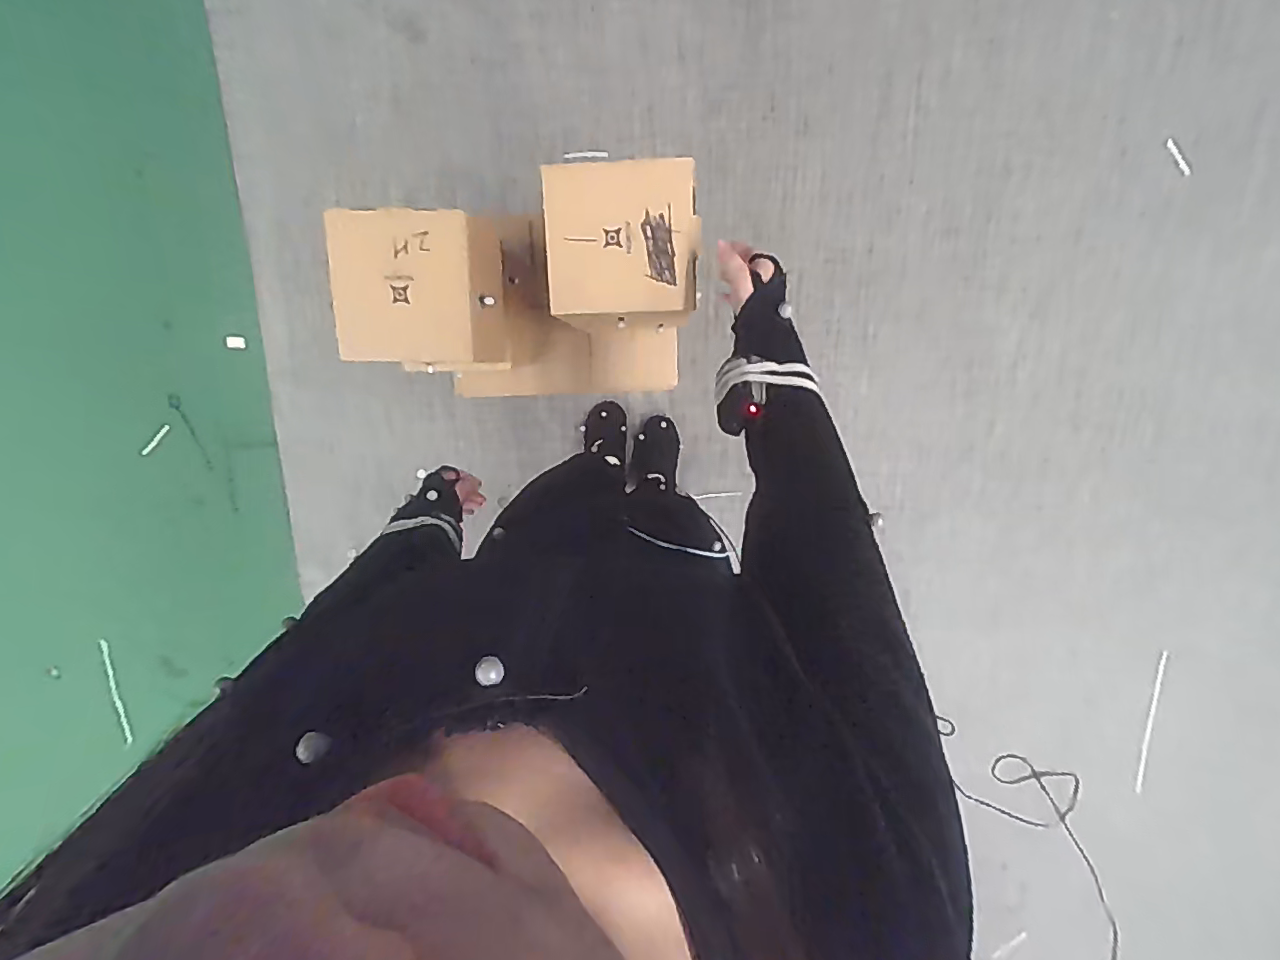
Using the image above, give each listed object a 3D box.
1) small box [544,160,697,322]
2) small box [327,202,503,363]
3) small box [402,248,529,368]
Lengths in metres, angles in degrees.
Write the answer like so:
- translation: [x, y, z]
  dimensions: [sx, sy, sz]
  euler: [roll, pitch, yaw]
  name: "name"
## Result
- translation: [-0.020, -0.297, 0.702]
  dimensions: [0.179, 0.176, 0.168]
  euler: [1, 103, 3]
  name: "small box"
- translation: [-0.282, -0.251, 0.718]
  dimensions: [0.168, 0.176, 0.179]
  euler: [2, 104, -2]
  name: "small box"
- translation: [-0.279, -0.277, 0.880]
  dimensions: [0.168, 0.176, 0.179]
  euler: [0, 103, 0]
  name: "small box"
